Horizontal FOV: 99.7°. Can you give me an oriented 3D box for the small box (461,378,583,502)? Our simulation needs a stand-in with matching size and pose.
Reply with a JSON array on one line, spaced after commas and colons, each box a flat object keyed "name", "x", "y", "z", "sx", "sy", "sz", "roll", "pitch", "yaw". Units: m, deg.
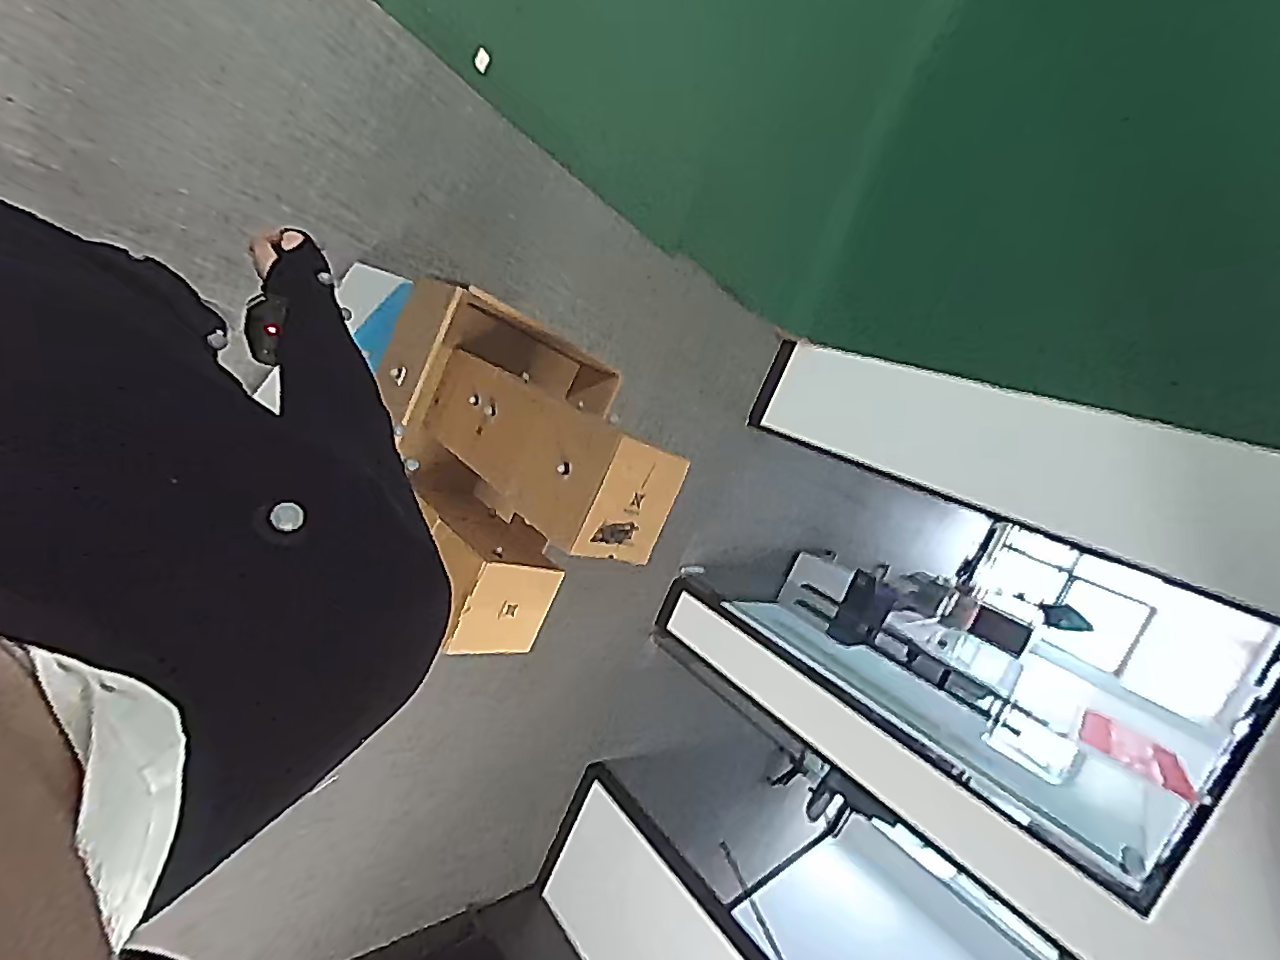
[{"name": "small box", "x": -0.169, "y": -0.056, "z": 0.921, "sx": 0.179, "sy": 0.176, "sz": 0.168, "roll": 20, "pitch": 98, "yaw": -49}]

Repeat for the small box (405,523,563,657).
[{"name": "small box", "x": -0.276, "y": 0.190, "z": 0.952, "sx": 0.179, "sy": 0.176, "sz": 0.168, "roll": 20, "pitch": 97, "yaw": -50}]

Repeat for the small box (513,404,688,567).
[{"name": "small box", "x": -0.065, "y": 0.008, "z": 0.812, "sx": 0.168, "sy": 0.176, "sz": 0.179, "roll": 18, "pitch": 98, "yaw": -50}]
